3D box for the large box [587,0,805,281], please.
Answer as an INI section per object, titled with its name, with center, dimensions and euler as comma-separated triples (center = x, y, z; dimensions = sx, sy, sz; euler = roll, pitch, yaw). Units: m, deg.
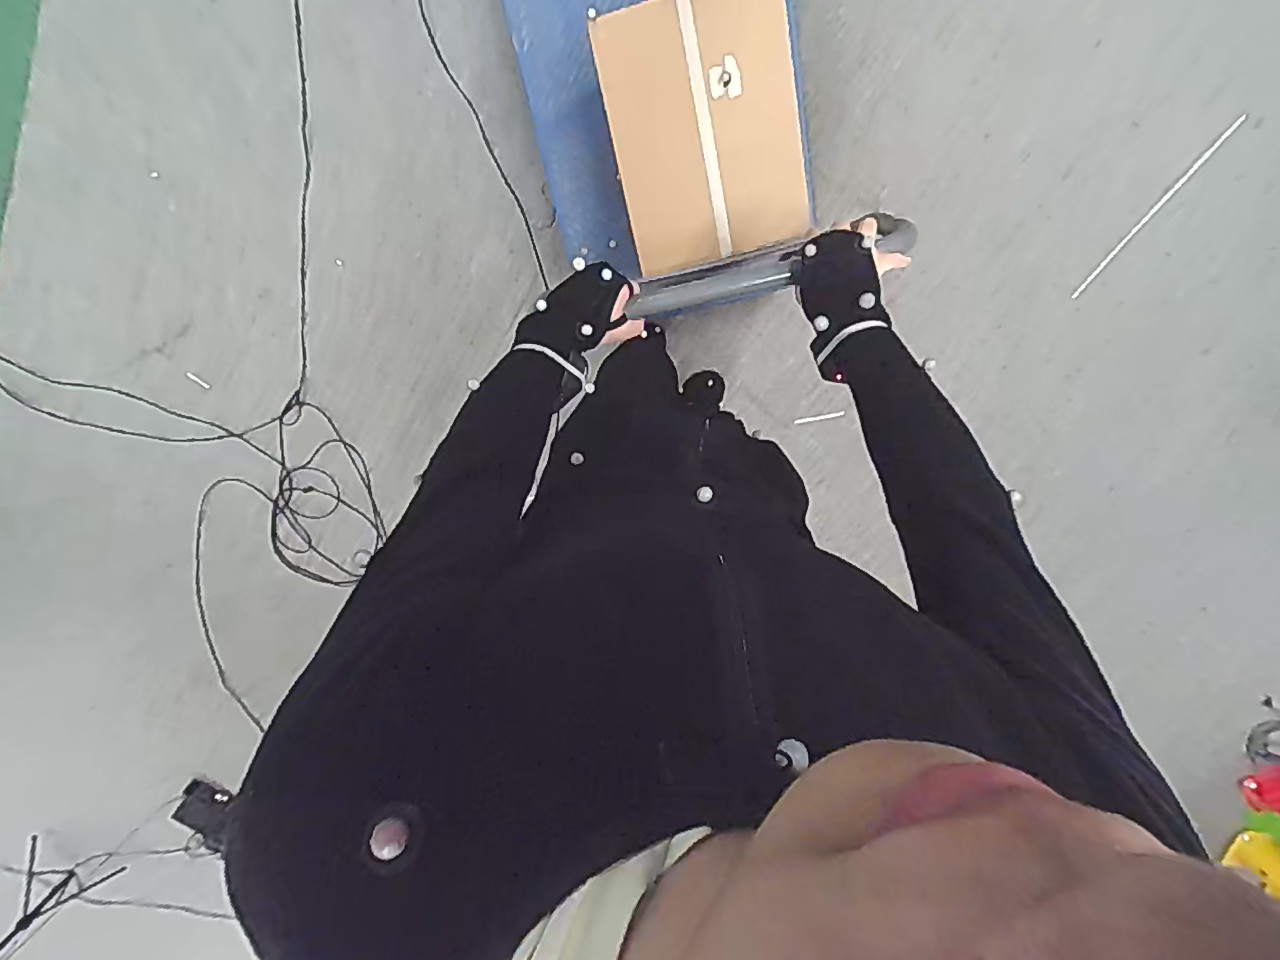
[large box]
center = 0.117, -0.644, 1.083
dimensions = 0.320, 0.320, 0.408
euler = -12, 109, 8
